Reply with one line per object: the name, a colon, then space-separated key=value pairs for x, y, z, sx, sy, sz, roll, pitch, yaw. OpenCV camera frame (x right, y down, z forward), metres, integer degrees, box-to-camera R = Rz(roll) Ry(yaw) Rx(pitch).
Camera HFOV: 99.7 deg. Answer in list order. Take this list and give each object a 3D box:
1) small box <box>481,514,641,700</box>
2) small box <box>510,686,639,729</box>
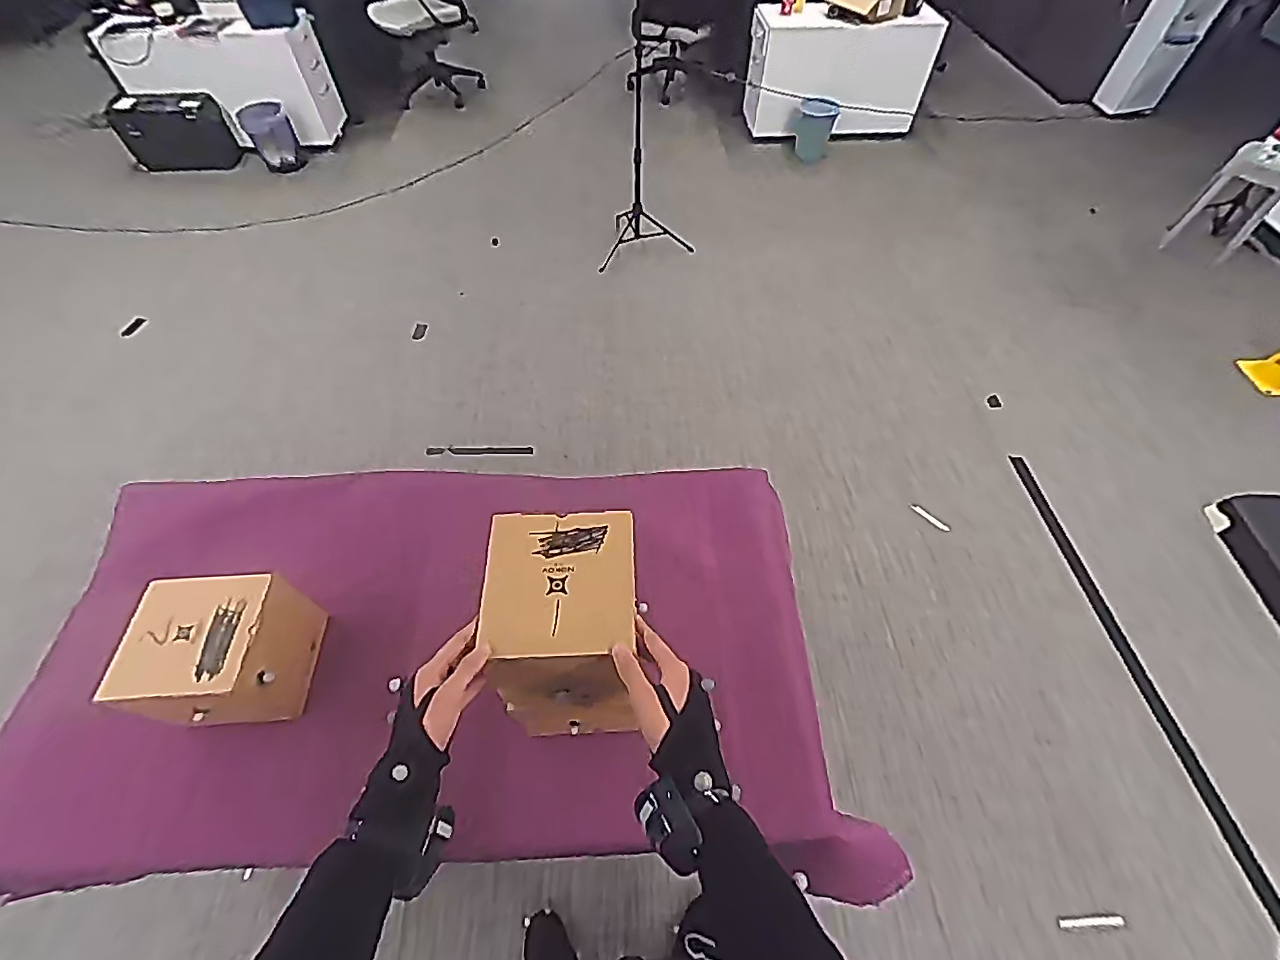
small box: x=-0.084 y=0.159 z=0.665 sx=0.168 sy=0.176 sz=0.179 roll=-2 pitch=55 yaw=-1
small box: x=-0.085 y=0.261 z=0.794 sx=0.168 sy=0.176 sz=0.179 roll=-1 pitch=55 yaw=-2
